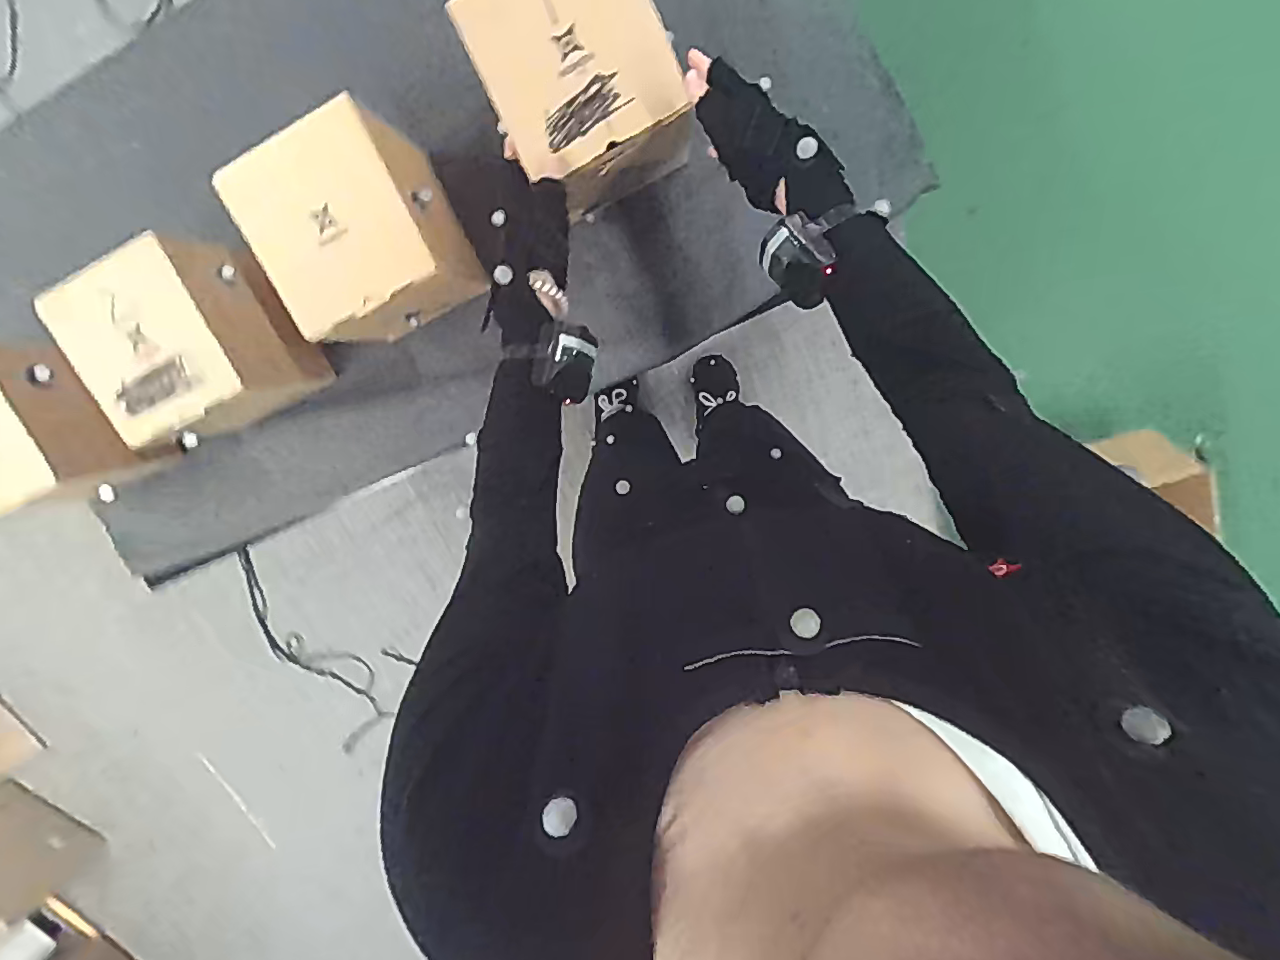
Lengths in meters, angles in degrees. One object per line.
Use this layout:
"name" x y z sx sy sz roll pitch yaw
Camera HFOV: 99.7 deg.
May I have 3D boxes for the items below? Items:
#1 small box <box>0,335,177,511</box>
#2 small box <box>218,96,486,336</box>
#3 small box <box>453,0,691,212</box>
"small box" -0.764 -0.069 0.688 0.168 0.176 0.179 -20 101 8
"small box" -0.306 -0.276 0.615 0.168 0.176 0.179 -24 102 9
"small box" -0.052 -0.406 0.567 0.168 0.176 0.179 -26 104 13
